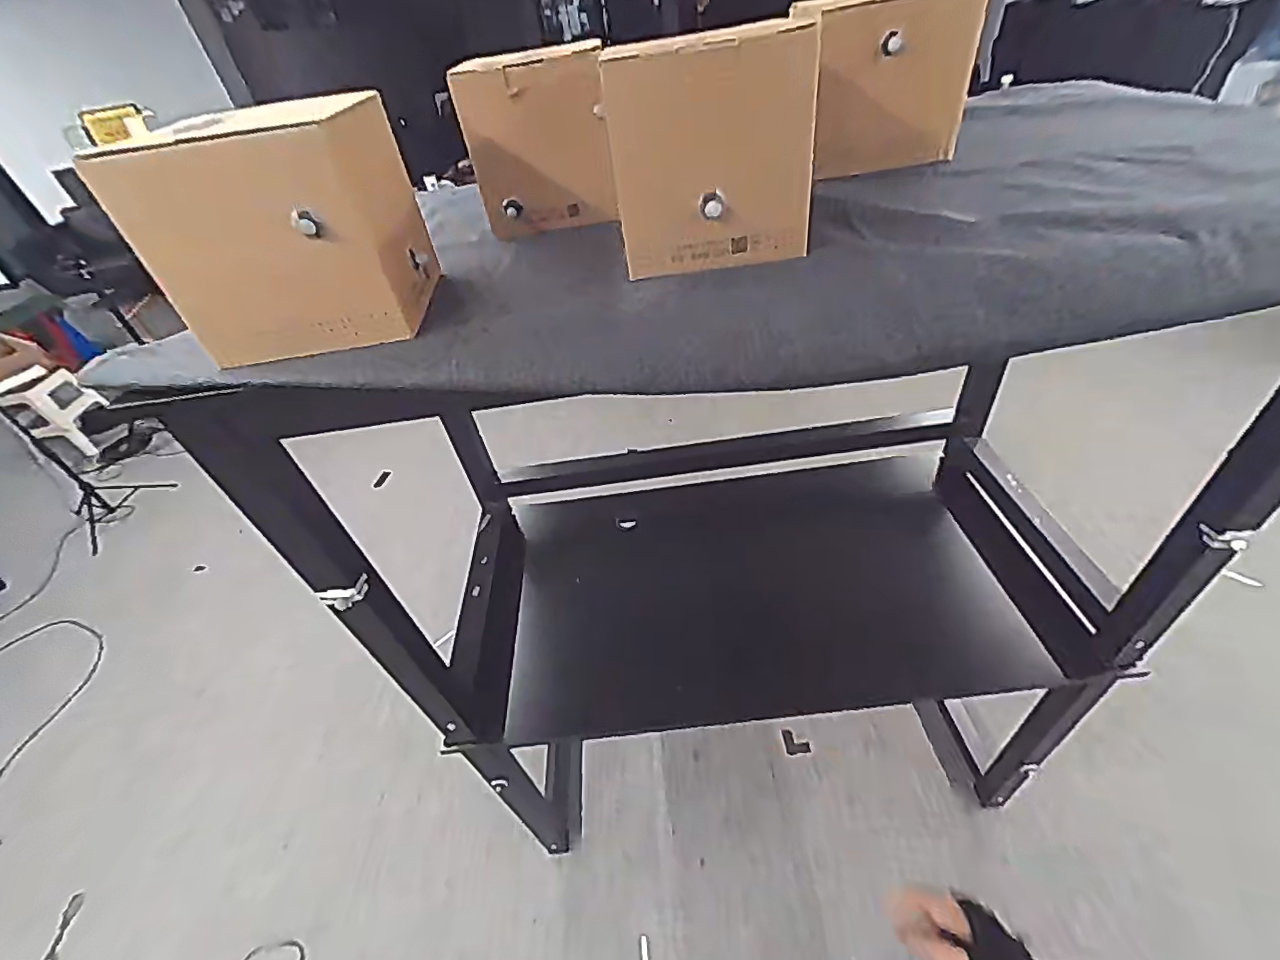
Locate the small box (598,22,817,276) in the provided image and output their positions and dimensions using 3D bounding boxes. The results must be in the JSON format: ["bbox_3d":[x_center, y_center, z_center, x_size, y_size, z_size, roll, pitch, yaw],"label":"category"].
[{"bbox_3d":[0.060,-0.311,0.513,0.168,0.176,0.179,-6,41,6],"label":"small box"}]

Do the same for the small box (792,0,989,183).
[{"bbox_3d":[0.286,-0.491,0.671,0.179,0.176,0.168,-6,42,6],"label":"small box"}]
